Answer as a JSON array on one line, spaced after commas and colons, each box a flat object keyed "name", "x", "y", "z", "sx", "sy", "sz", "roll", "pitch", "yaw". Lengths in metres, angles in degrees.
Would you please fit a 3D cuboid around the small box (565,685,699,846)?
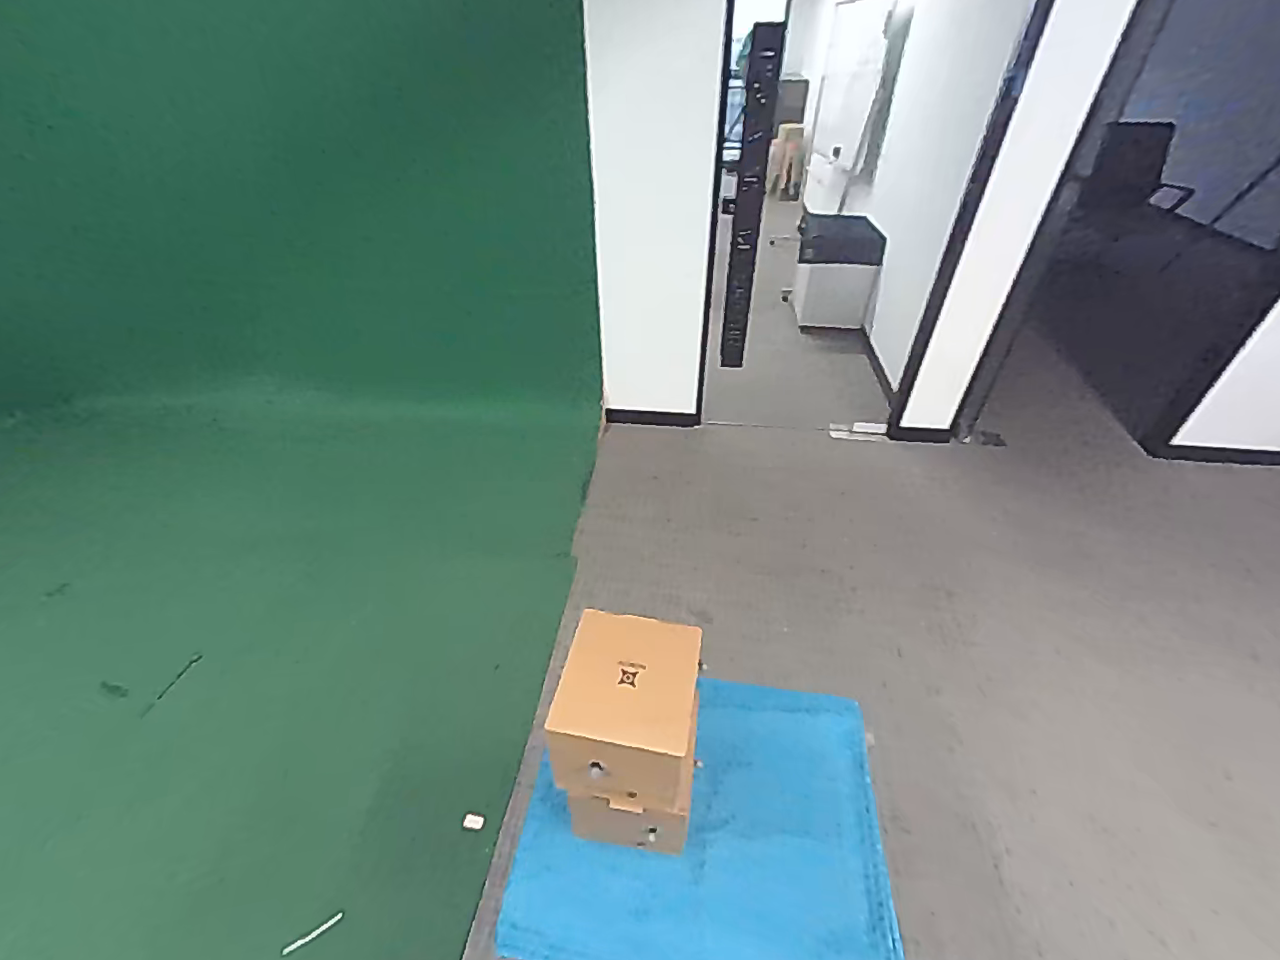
[{"name": "small box", "x": -0.006, "y": 0.418, "z": 0.816, "sx": 0.168, "sy": 0.176, "sz": 0.179, "roll": 8, "pitch": 40, "yaw": 7}]

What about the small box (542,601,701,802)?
[{"name": "small box", "x": -0.016, "y": 0.292, "z": 0.714, "sx": 0.168, "sy": 0.176, "sz": 0.179, "roll": 8, "pitch": 39, "yaw": 8}]
